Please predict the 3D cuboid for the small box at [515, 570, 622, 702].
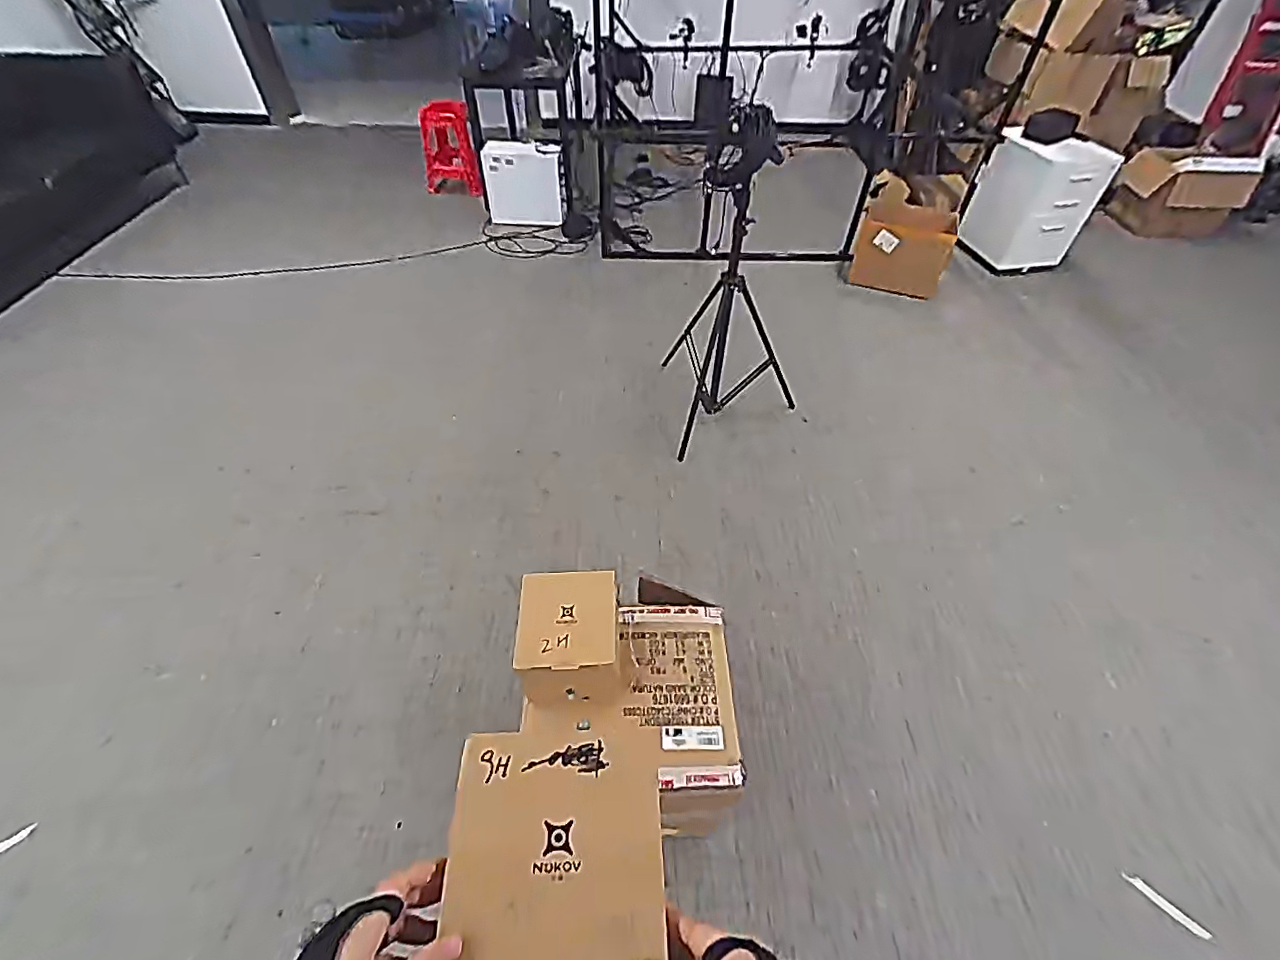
[{"bbox_3d":[-0.120,0.283,0.977,0.168,0.176,0.179,-3,51,-1],"label":"small box"}]
